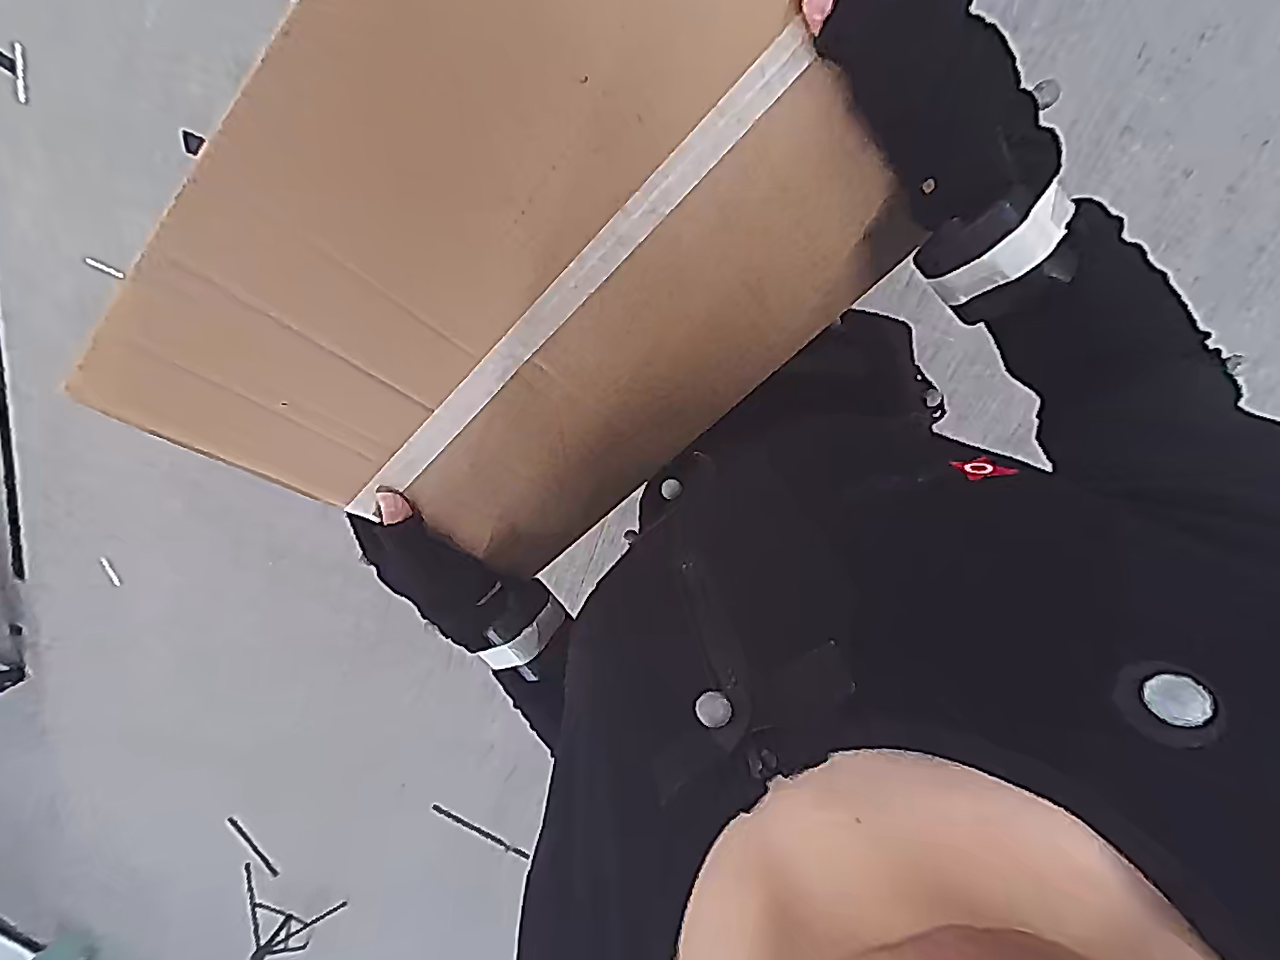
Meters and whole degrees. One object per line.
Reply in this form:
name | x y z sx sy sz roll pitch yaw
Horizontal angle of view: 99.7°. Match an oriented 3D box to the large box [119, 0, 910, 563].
large box | -0.091 -0.208 0.433 0.408 0.320 0.320 -41 133 18
